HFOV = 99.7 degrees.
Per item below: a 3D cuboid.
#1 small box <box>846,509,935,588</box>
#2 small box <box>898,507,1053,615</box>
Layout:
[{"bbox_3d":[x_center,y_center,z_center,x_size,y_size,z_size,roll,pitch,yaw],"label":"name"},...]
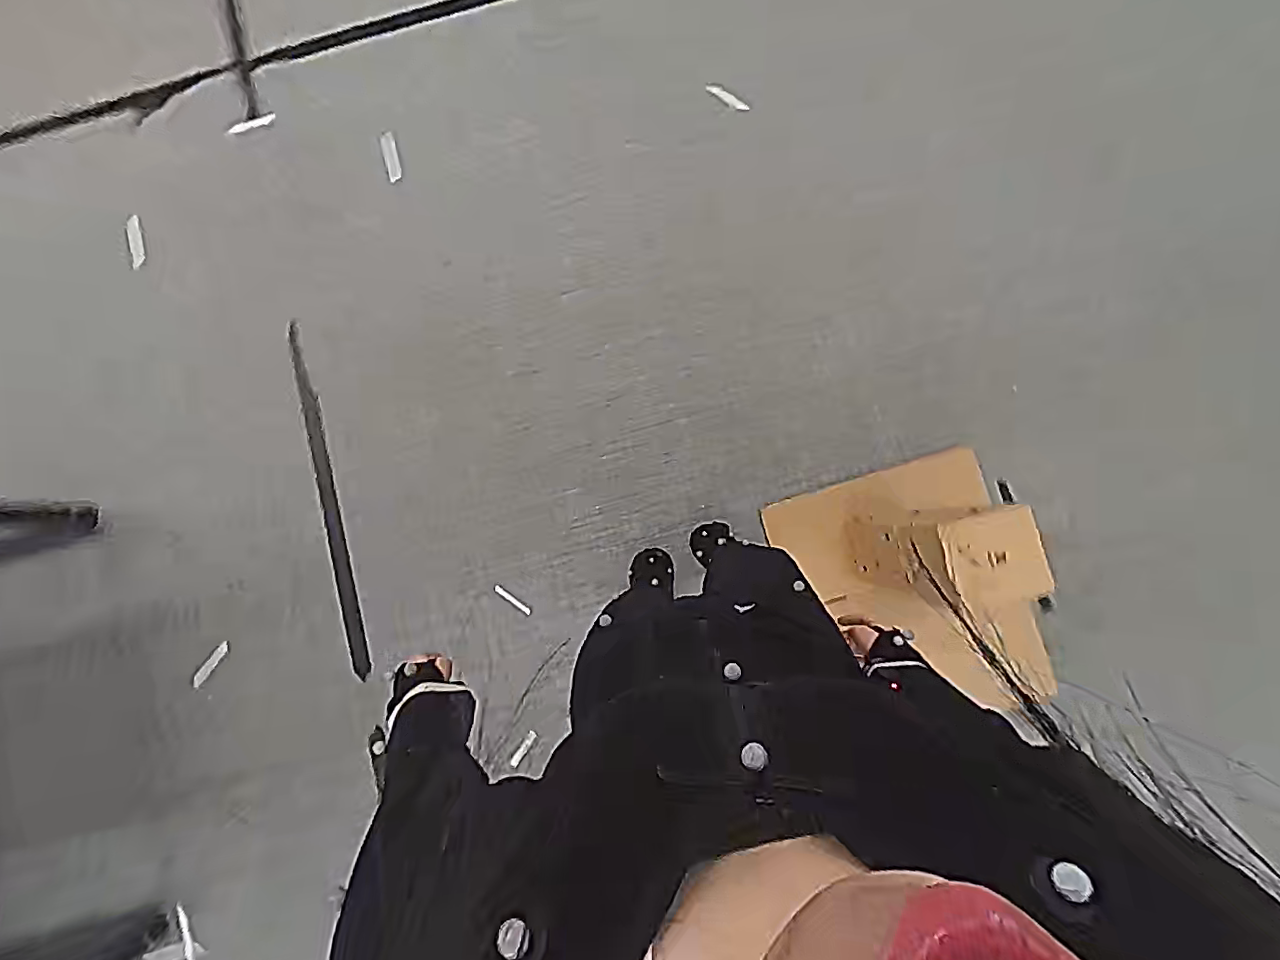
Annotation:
[{"bbox_3d":[0.647,0.172,1.385,0.179,0.176,0.168,-12,86,0],"label":"small box"},{"bbox_3d":[0.643,0.149,1.056,0.179,0.176,0.168,-14,86,1],"label":"small box"}]
